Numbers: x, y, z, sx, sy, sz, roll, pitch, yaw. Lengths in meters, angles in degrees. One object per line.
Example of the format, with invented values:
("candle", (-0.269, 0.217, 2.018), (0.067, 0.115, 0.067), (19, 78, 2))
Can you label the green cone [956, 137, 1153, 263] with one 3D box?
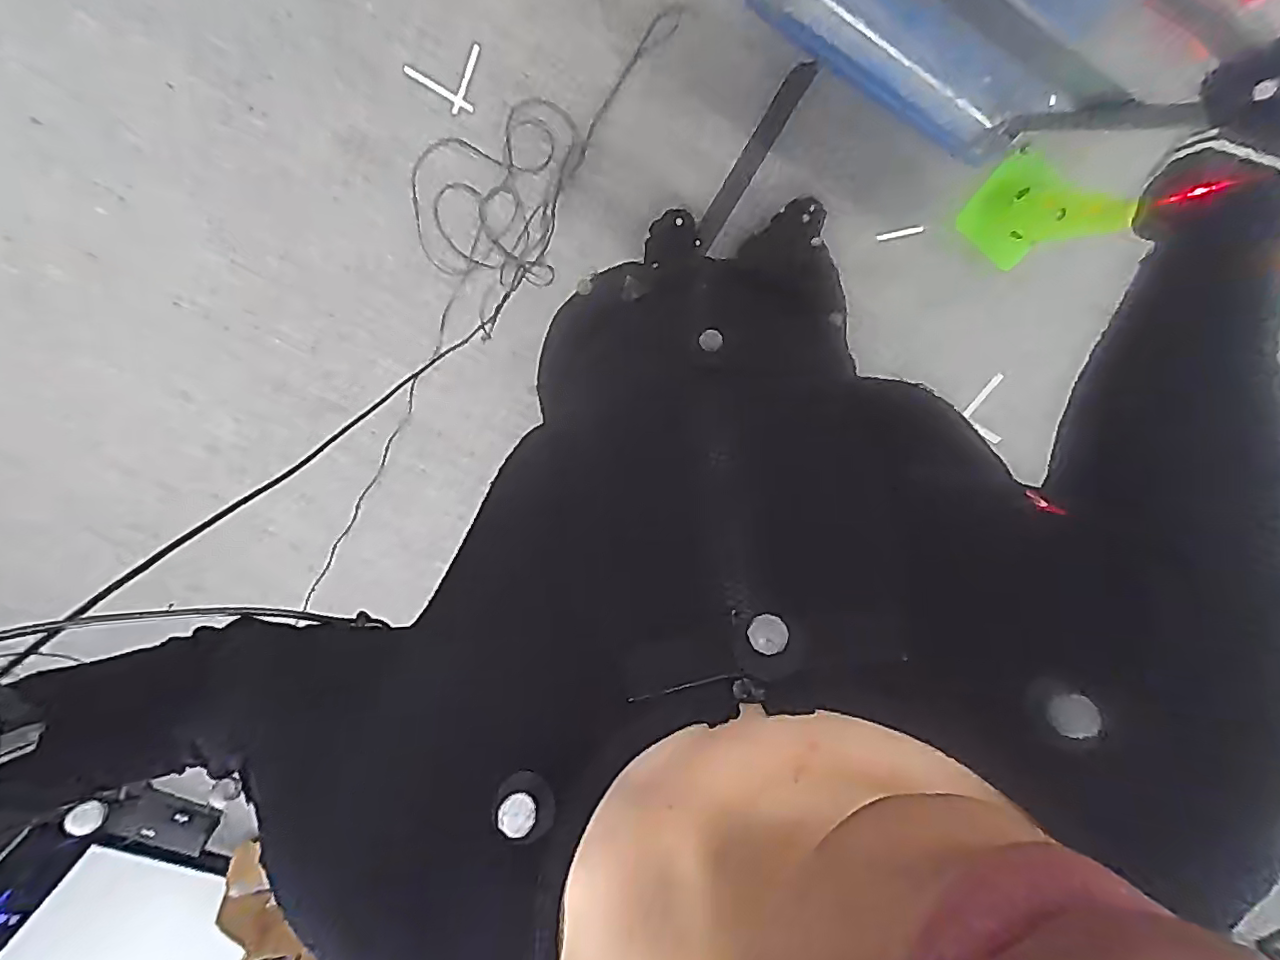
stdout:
("green cone", (0.851, -0.545, 1.079), (0.202, 0.368, 0.200), (31, 115, -16))

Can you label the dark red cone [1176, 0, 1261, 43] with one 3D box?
("dark red cone", (1.112, -0.893, 0.864), (0.201, 0.394, 0.202), (27, 116, -15))
